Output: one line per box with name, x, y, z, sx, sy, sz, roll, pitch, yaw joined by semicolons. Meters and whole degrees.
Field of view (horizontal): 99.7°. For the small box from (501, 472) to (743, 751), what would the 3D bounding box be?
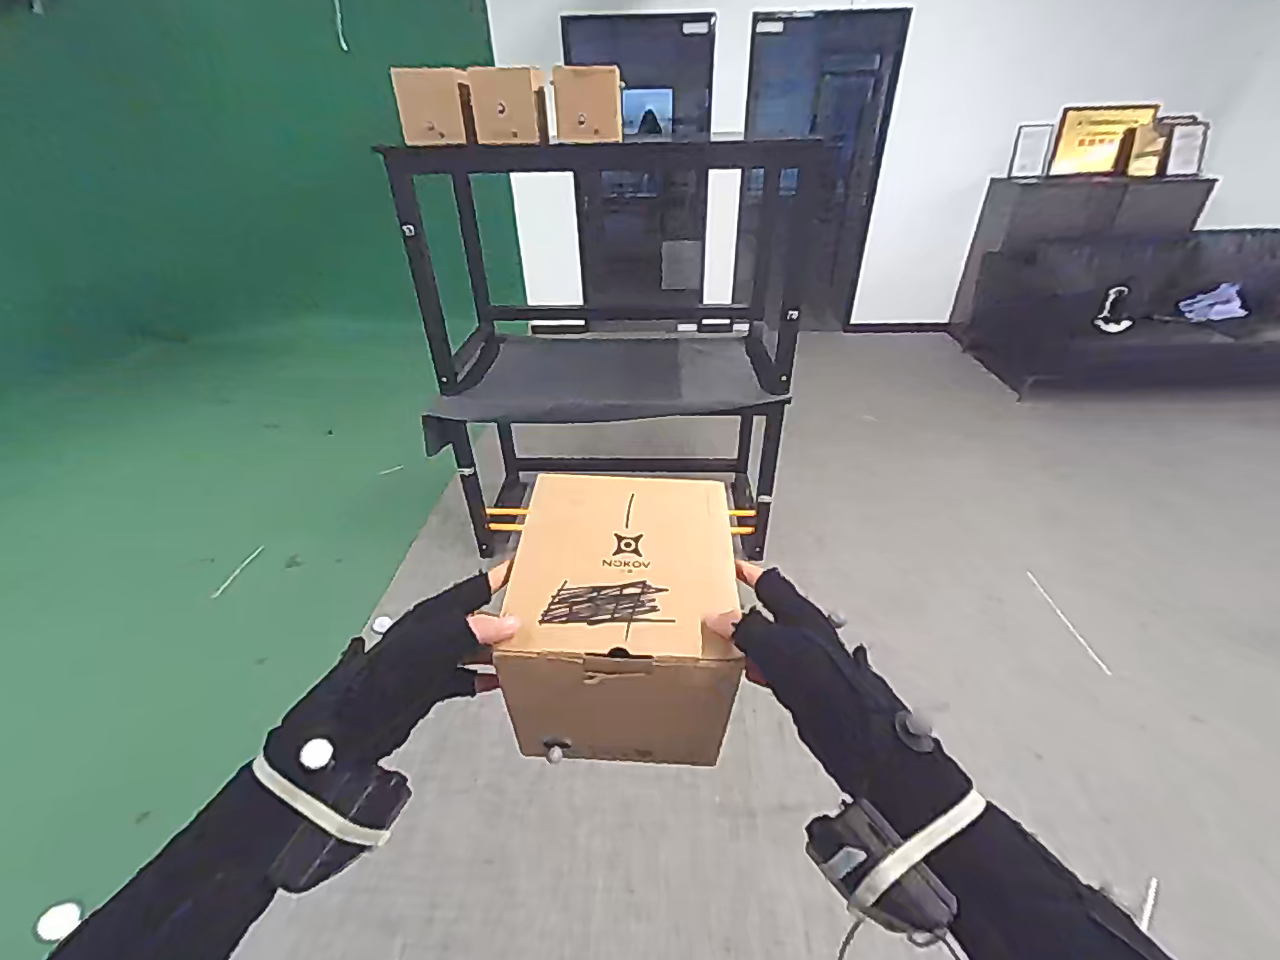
small box;-0.010;0.114;0.471;0.168;0.176;0.179;3;41;0
